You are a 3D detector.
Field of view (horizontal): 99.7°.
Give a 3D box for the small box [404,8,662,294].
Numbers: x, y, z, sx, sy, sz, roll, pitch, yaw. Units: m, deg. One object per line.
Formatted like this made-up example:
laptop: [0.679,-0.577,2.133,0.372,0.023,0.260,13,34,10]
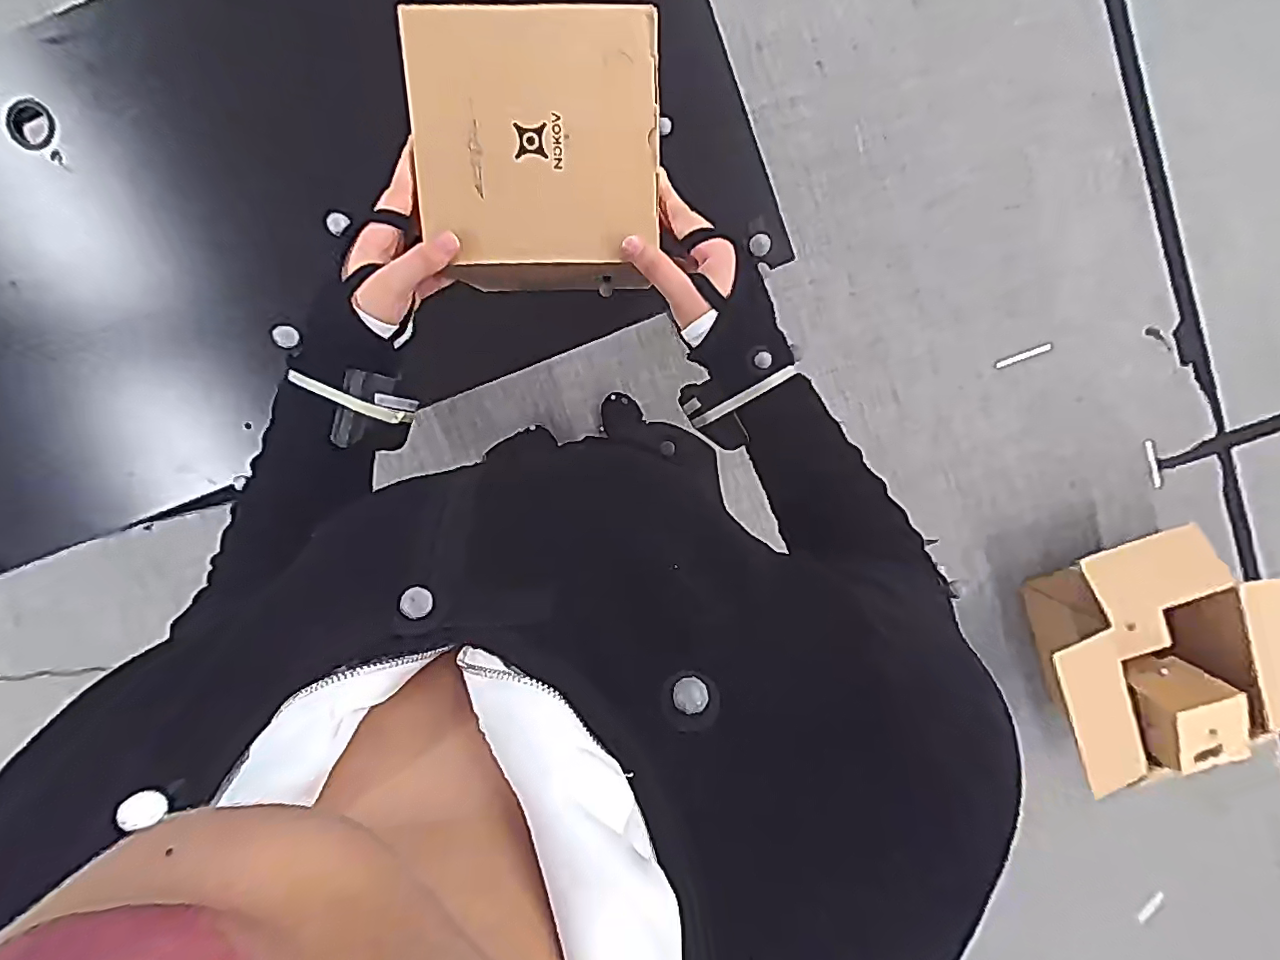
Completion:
small box: [-0.074,-0.257,0.463,0.179,0.176,0.168,-2,102,0]
